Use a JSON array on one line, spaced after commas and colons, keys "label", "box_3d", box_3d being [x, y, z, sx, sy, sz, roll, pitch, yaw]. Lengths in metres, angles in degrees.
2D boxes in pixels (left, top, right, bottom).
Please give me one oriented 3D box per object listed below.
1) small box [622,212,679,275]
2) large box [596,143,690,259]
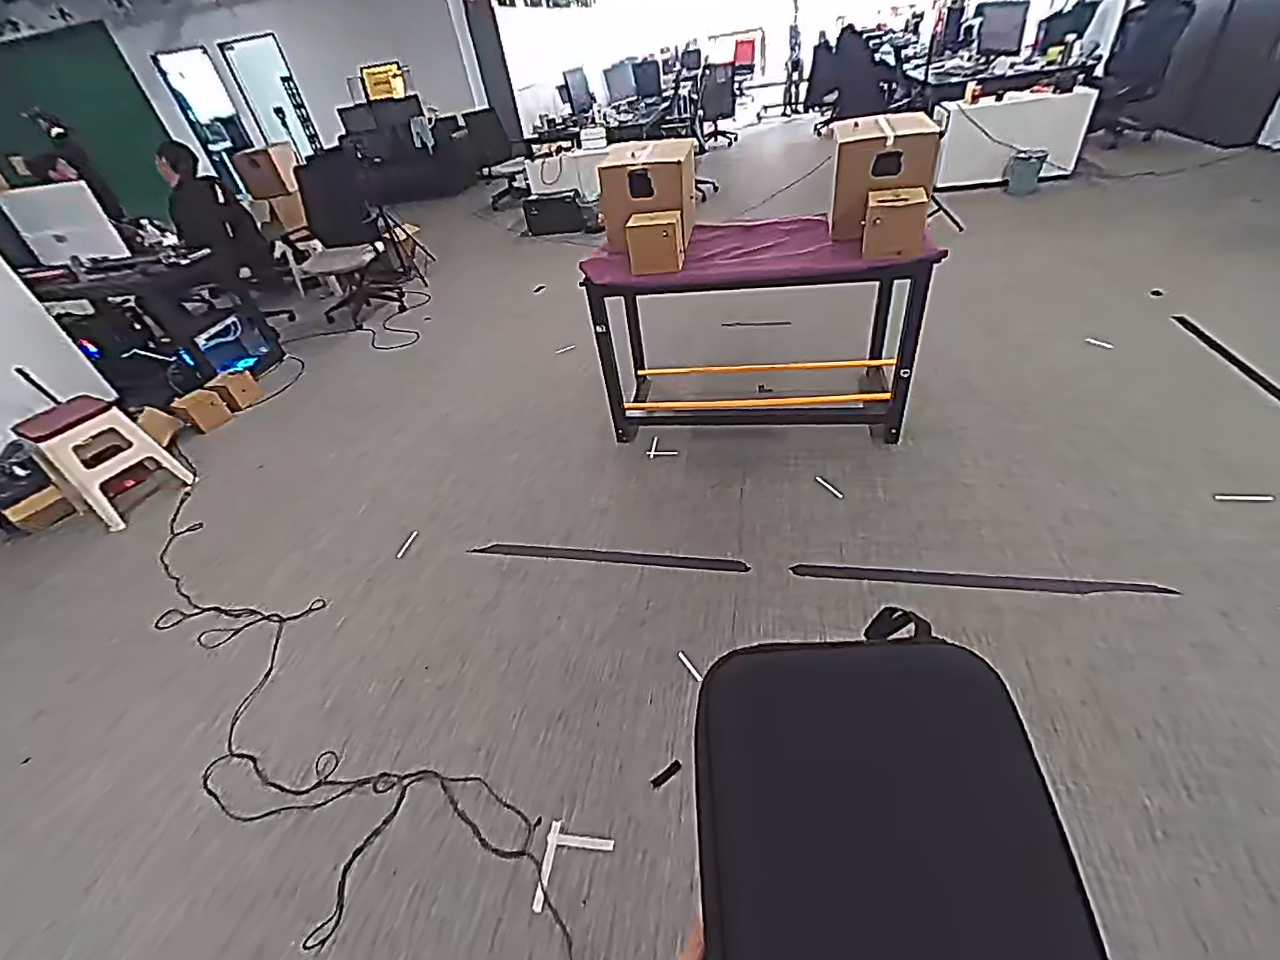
[{"label": "small box", "box_3d": [0.042, -0.849, 1.947, 0.179, 0.176, 0.168, 0, 39, 10]}, {"label": "large box", "box_3d": [0.033, -1.121, 2.165, 0.320, 0.320, 0.408, 1, 43, 11]}]
